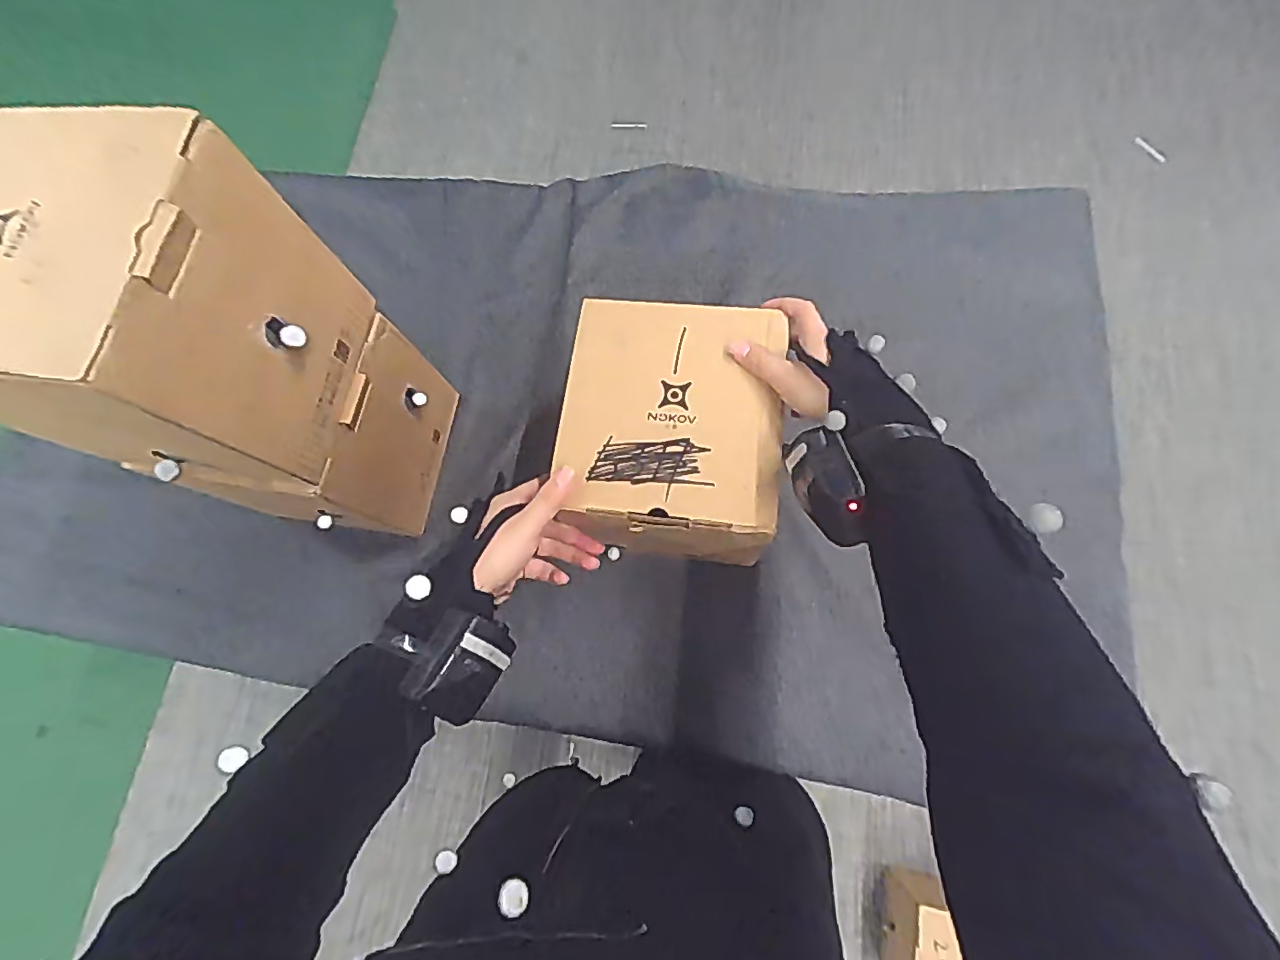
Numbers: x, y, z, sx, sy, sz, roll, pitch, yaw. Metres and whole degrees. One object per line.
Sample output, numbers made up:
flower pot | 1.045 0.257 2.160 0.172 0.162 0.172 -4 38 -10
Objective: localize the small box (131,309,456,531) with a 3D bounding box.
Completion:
small box | -0.303 -0.053 0.520 0.179 0.176 0.168 7 73 8

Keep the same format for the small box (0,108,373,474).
small box | -0.318 -0.109 0.366 0.179 0.176 0.168 6 73 7

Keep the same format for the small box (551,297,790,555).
small box | 0.033 -0.035 0.482 0.168 0.176 0.179 6 73 7

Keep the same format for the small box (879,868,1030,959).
small box | 0.537 0.811 0.939 0.179 0.176 0.168 8 73 8
